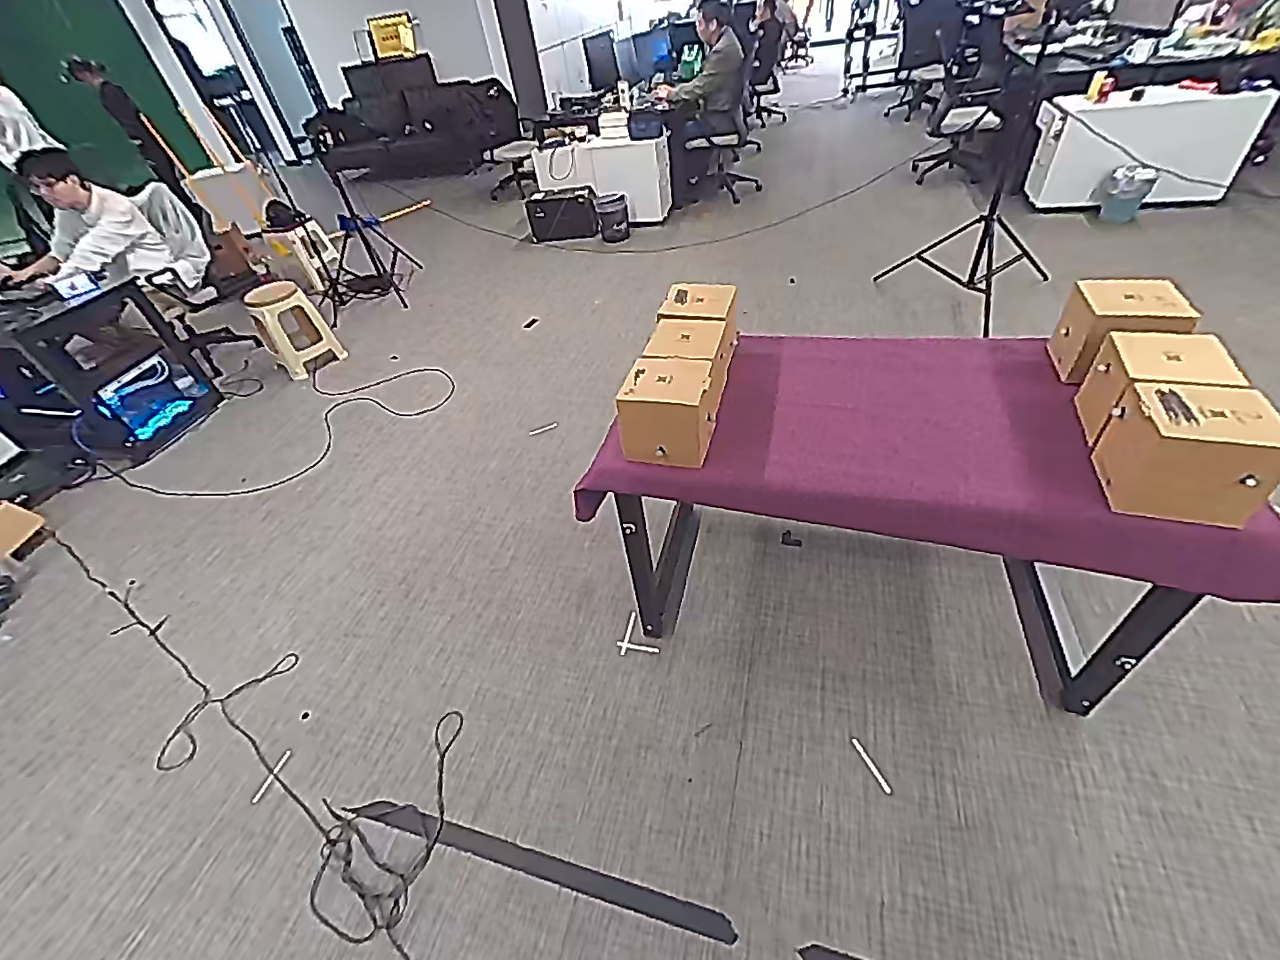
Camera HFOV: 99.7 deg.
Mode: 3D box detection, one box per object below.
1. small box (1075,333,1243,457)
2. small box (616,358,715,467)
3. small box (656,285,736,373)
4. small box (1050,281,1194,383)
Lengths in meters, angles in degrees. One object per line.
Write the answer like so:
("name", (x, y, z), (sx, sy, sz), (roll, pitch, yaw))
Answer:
("small box", (0.982, -0.165, 1.045), (0.168, 0.176, 0.179), (9, 45, 20))
("small box", (0.062, -0.147, 1.182), (0.179, 0.176, 0.168), (8, 44, 16))
("small box", (0.154, -0.399, 1.433), (0.179, 0.176, 0.168), (8, 48, 17))
("small box", (1.041, -0.322, 1.192), (0.179, 0.176, 0.168), (7, 46, 16))
